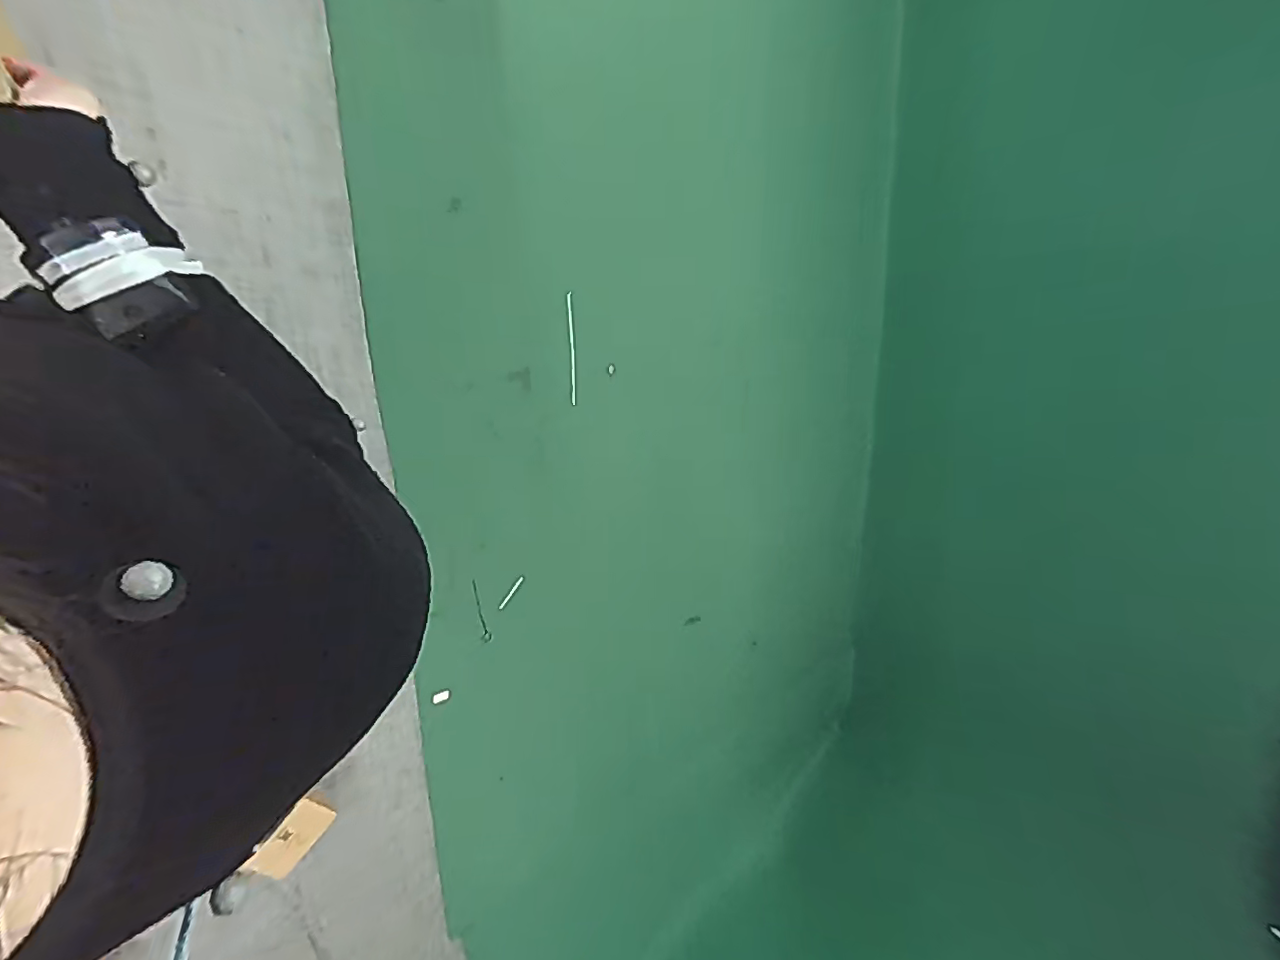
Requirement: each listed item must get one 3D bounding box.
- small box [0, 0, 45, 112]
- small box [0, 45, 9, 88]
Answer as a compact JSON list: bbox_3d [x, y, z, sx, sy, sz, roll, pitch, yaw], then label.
[{"bbox_3d":[-0.504,-0.320,0.308,0.168,0.176,0.179,-23,129,-30],"label":"small box"},{"bbox_3d":[-0.402,-0.251,0.197,0.168,0.176,0.179,-23,128,-30],"label":"small box"}]
